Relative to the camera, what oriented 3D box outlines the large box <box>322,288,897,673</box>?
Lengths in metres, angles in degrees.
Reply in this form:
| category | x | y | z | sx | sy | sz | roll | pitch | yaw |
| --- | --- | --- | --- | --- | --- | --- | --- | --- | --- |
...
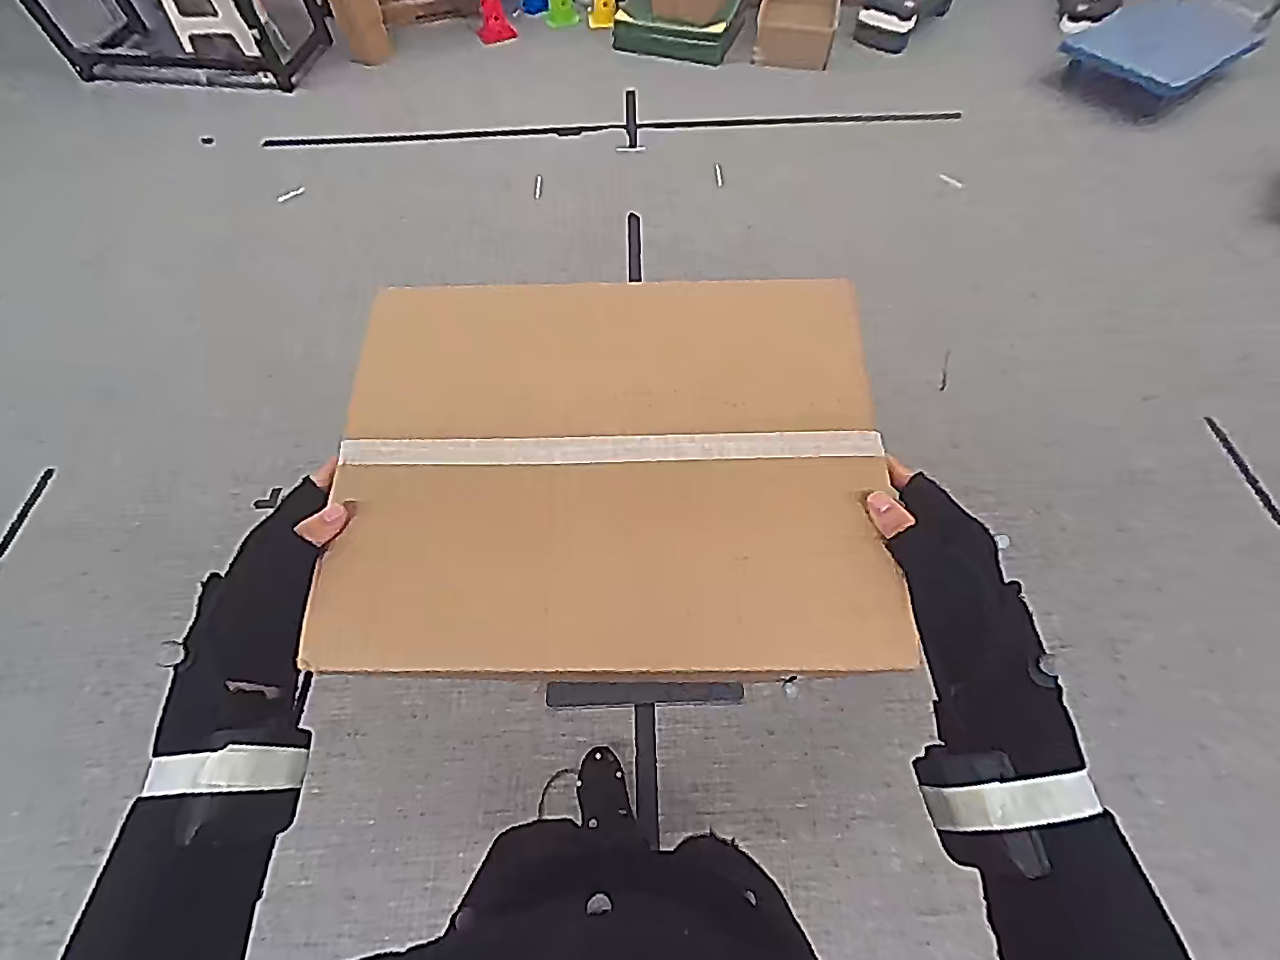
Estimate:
| category | x | y | z | sx | sy | sz | roll | pitch | yaw |
| --- | --- | --- | --- | --- | --- | --- | --- | --- | --- |
| large box | -0.019 | 0.033 | 0.559 | 0.408 | 0.320 | 0.320 | -1 | 69 | 2 |

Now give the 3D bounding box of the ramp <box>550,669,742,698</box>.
| category | x | y | z | sx | sy | sz | roll | pitch | yaw |
| --- | --- | --- | --- | --- | --- | --- | --- | --- | --- |
| ramp | 0.001 | 0.066 | 1.516 | 0.509 | 0.206 | 0.991 | -3 | 61 | -2 |
